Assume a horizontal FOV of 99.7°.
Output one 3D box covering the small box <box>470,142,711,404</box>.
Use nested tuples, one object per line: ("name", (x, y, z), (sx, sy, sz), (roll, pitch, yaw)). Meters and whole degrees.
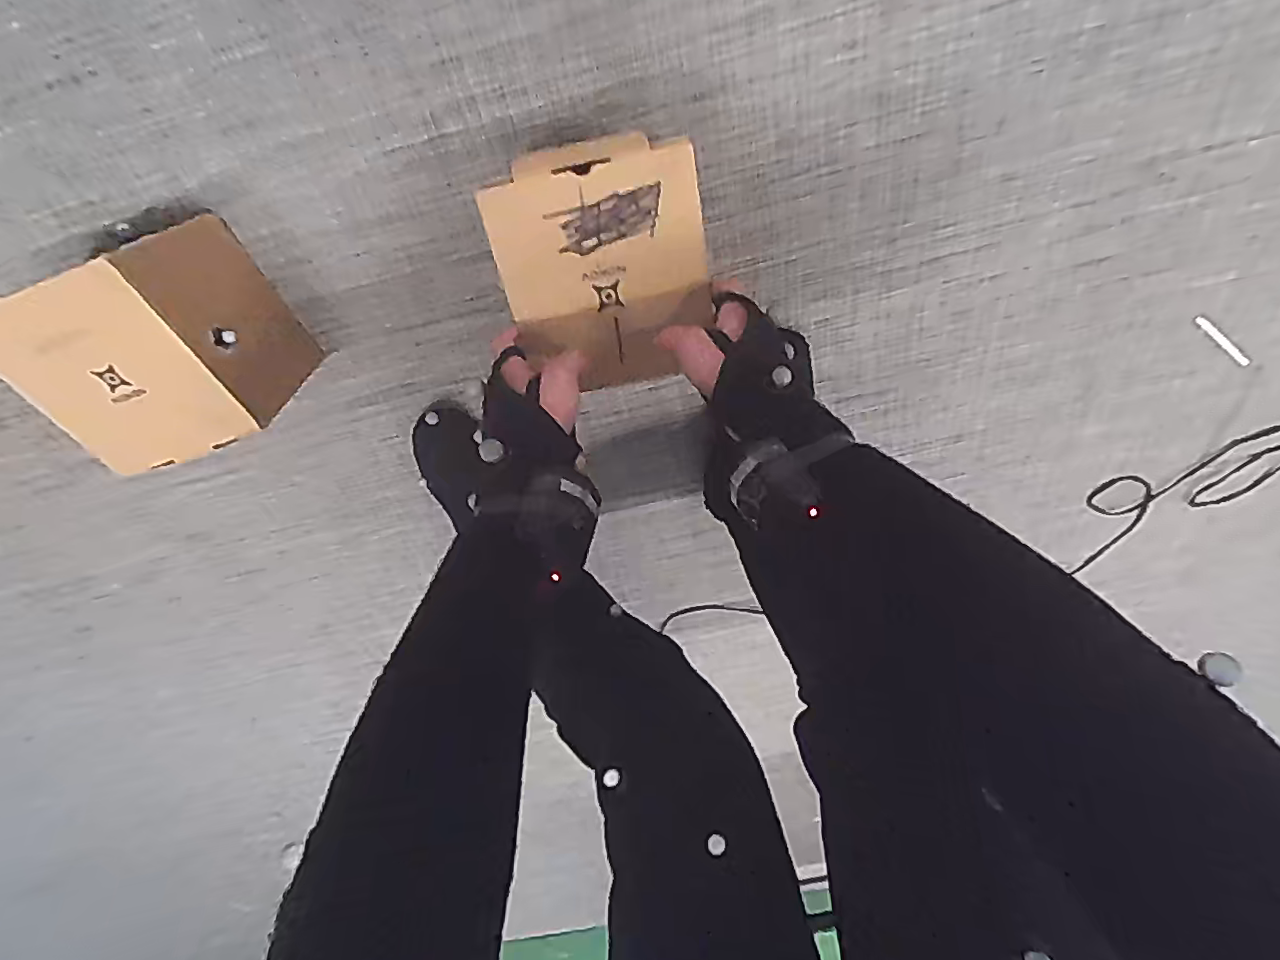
("small box", (-0.036, -0.195, 0.508), (0.168, 0.176, 0.179), (-11, 119, 4))

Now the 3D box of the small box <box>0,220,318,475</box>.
("small box", (-0.480, -0.139, 0.559), (0.168, 0.176, 0.179), (-18, 126, 8))
